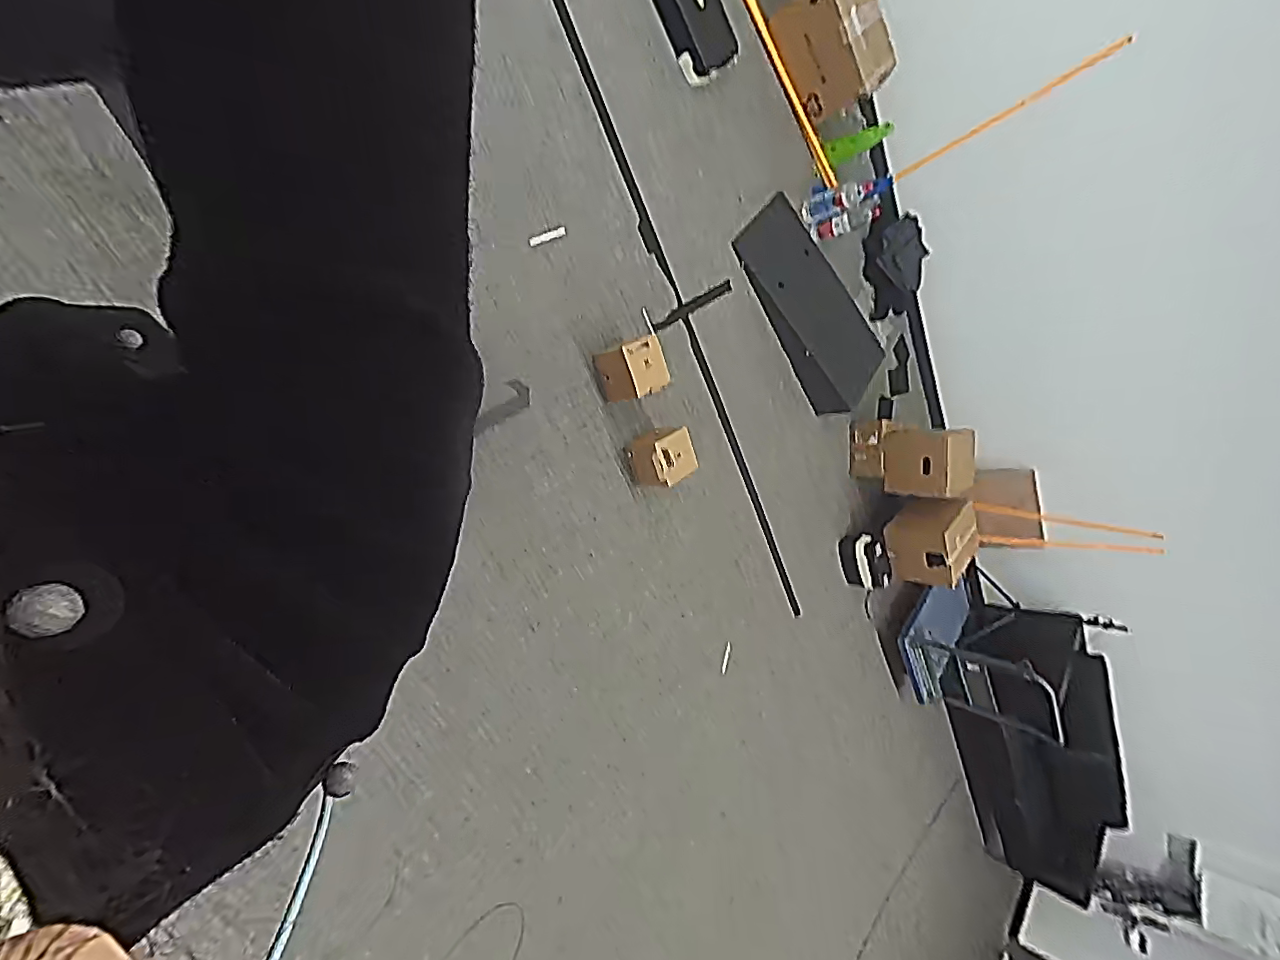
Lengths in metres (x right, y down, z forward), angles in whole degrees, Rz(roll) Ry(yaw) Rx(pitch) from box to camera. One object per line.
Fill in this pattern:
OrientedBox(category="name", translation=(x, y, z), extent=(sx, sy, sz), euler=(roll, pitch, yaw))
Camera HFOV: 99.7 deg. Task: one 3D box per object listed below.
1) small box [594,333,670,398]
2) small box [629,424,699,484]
OrientedBox(category="small box", translation=(-0.030, -0.389, 1.860), extent=(0.168, 0.176, 0.179), euler=(-33, 113, -36))
OrientedBox(category="small box", translation=(0.081, -0.092, 1.963), extent=(0.179, 0.176, 0.168), euler=(-33, 112, -36))
